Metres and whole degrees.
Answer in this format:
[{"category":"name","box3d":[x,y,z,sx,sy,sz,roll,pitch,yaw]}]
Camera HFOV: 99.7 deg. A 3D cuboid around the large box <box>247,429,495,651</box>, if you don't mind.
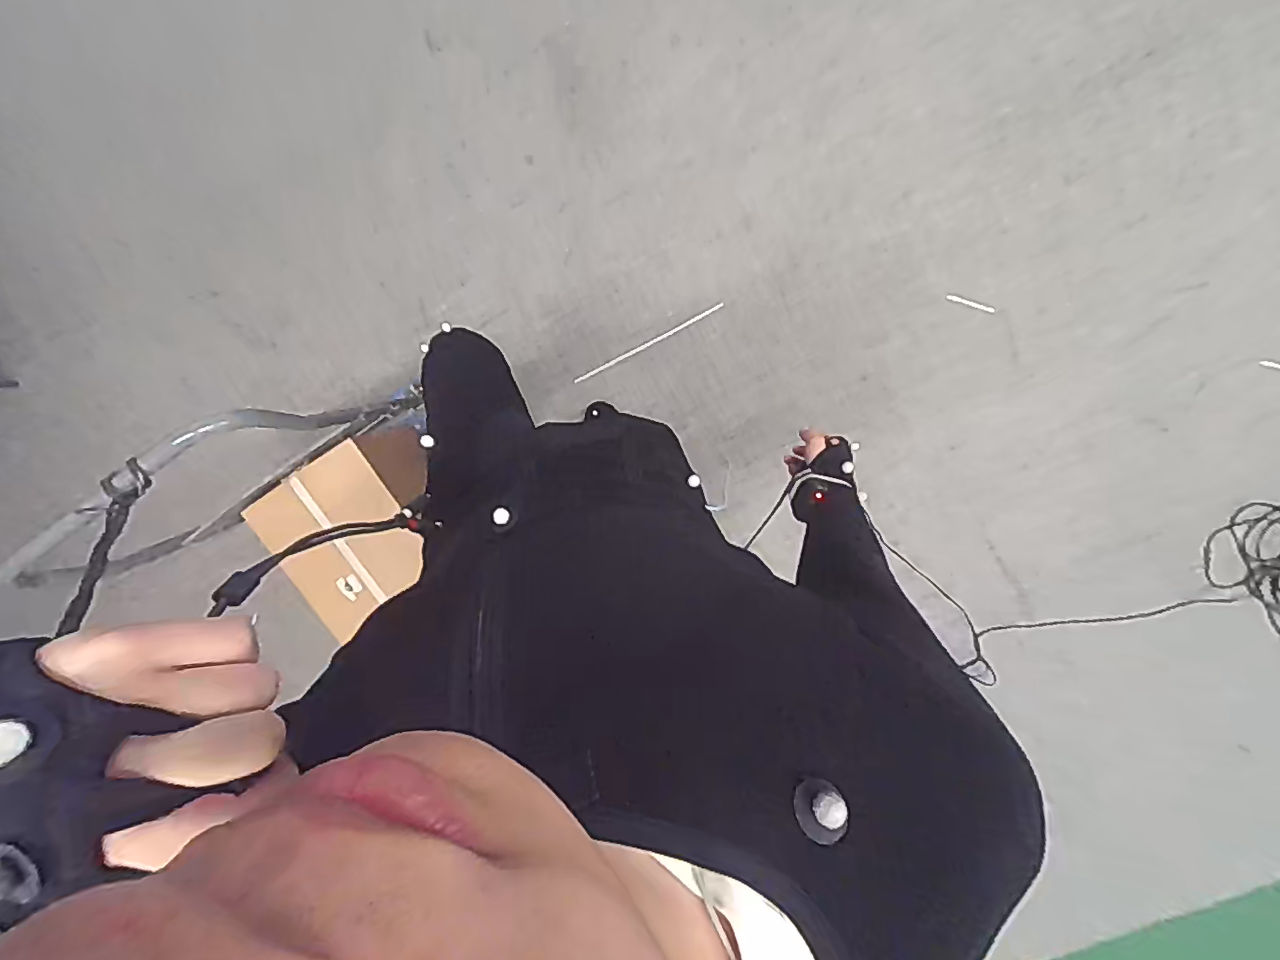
[{"category":"large box","box3d":[-0.629,0.127,1.343,0.320,0.320,0.408,-32,98,6]}]
